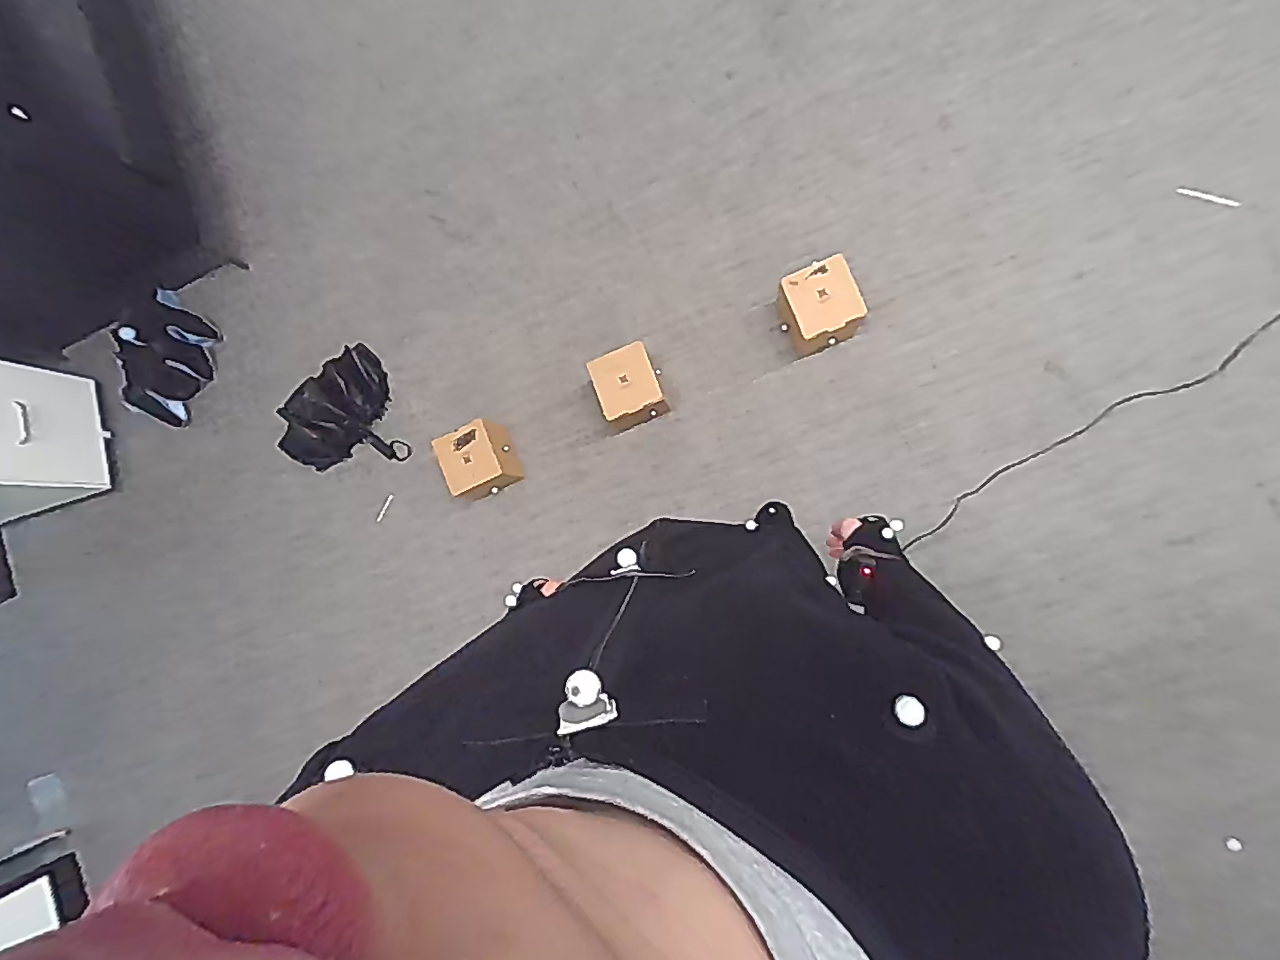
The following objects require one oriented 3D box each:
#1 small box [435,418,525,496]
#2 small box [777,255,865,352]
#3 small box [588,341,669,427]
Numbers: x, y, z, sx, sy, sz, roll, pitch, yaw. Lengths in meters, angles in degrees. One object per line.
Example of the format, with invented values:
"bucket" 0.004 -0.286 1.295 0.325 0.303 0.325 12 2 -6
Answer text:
"small box" -0.465 -0.062 1.593 0.168 0.176 0.179 -24 84 8
"small box" 0.478 -0.459 1.449 0.168 0.176 0.179 -21 84 9
"small box" -0.025 -0.261 1.530 0.168 0.176 0.179 -22 82 7
